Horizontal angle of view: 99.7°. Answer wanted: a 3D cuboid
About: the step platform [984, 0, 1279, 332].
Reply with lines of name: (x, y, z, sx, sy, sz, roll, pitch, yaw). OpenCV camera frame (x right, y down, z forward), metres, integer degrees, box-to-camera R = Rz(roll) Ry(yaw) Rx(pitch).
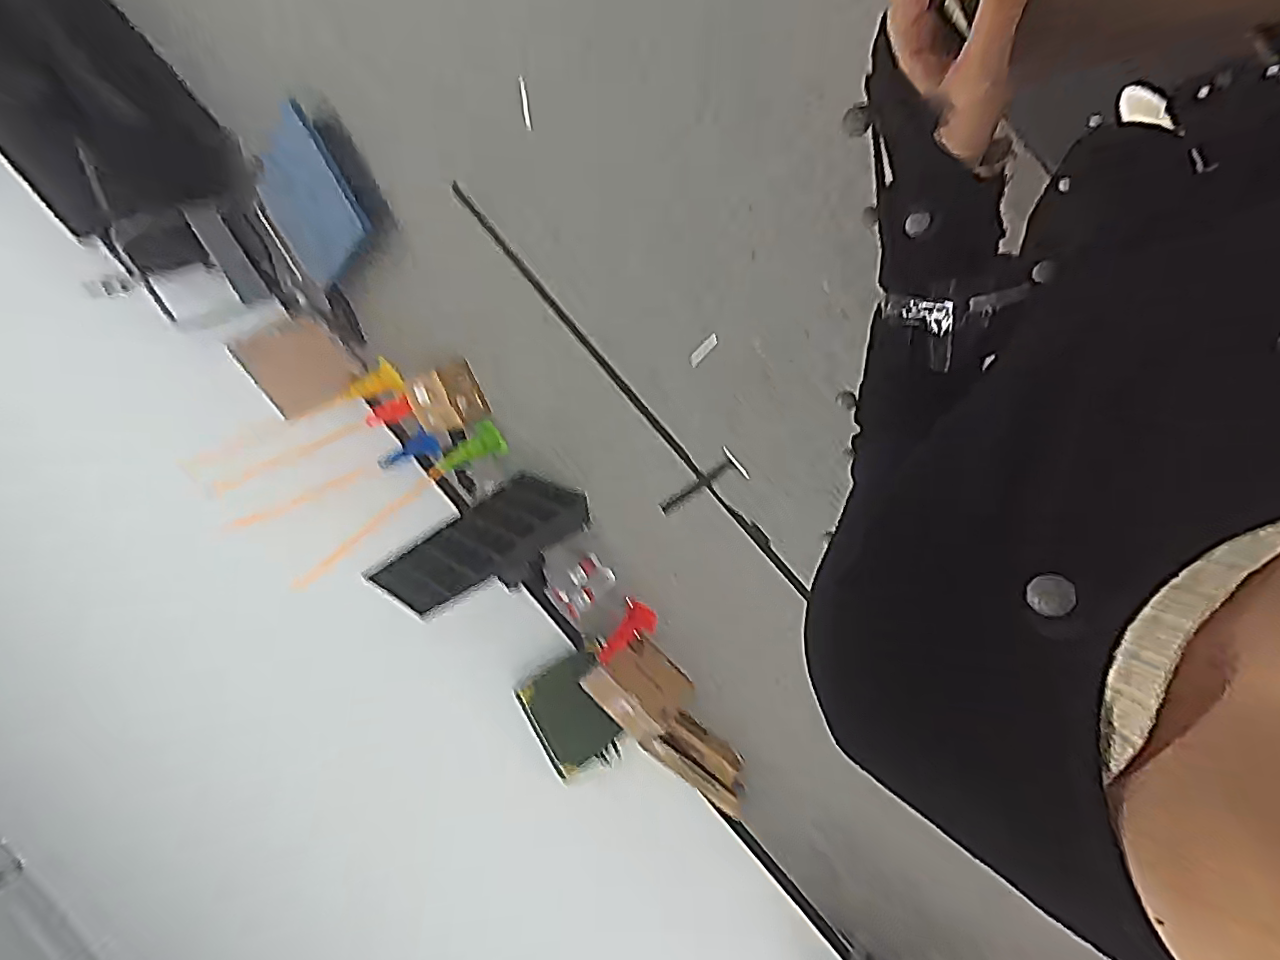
step platform: (0.906, -0.602, 0.928, 0.684, 0.204, 0.286, 54, 141, -4)
